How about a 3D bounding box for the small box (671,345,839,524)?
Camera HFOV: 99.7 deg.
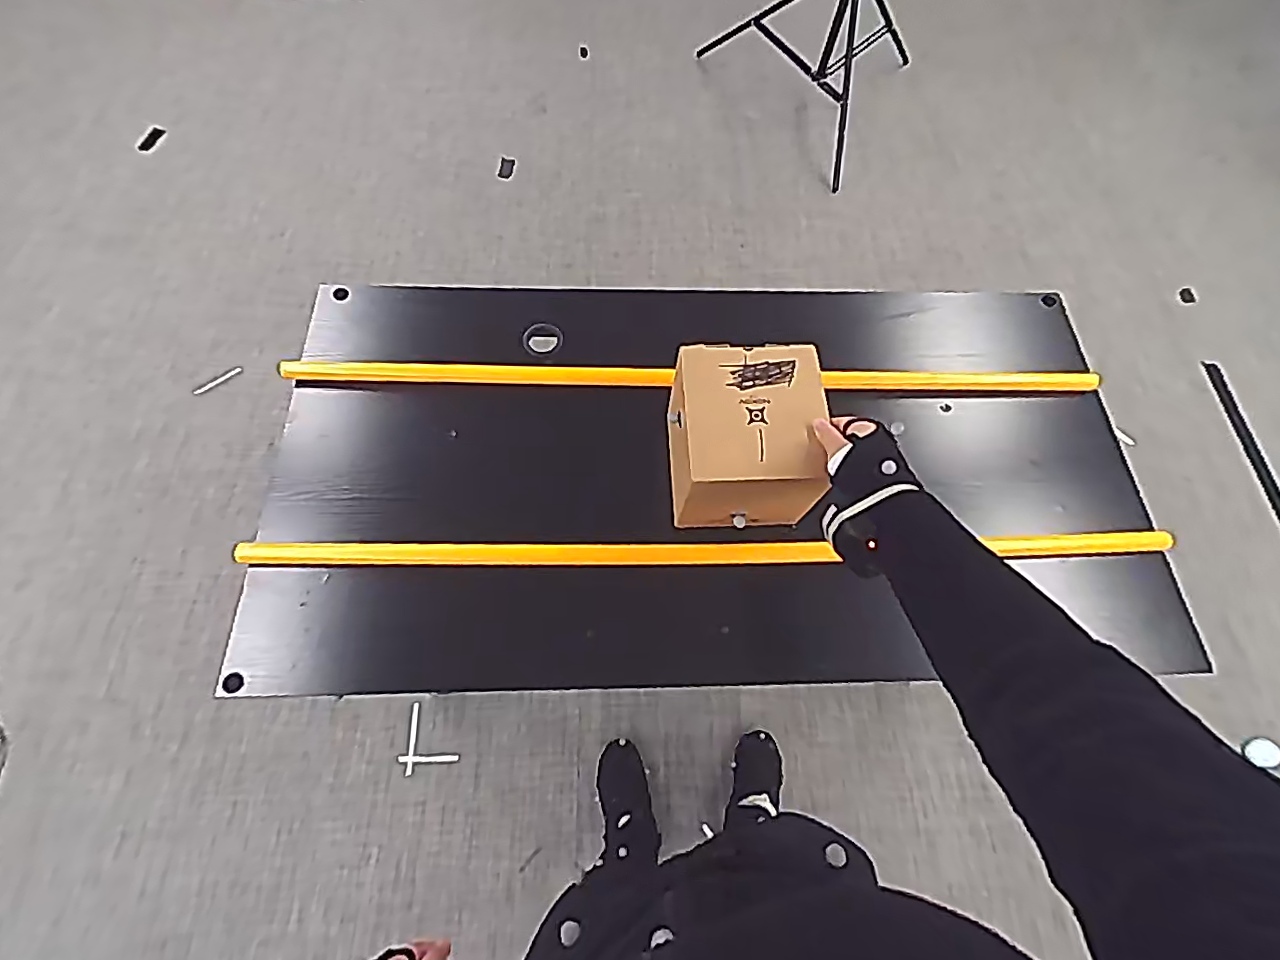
[{"bbox_3d":[0.131,-0.052,0.690,0.168,0.176,0.179,-1,68,-2],"label":"small box"}]
